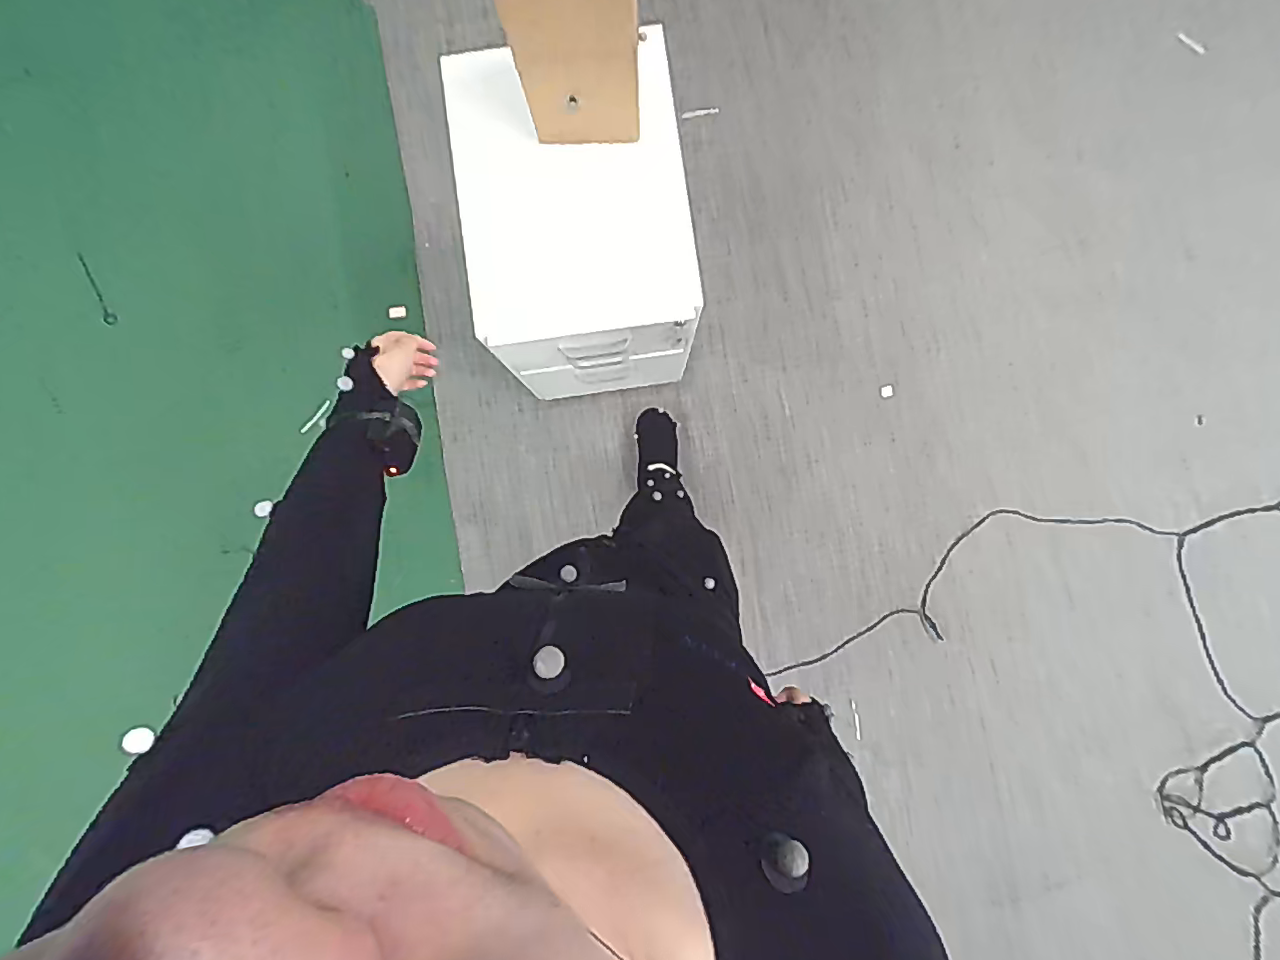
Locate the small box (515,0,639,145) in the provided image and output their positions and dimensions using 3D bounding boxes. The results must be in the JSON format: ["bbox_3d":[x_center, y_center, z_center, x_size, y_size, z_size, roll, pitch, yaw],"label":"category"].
[{"bbox_3d":[-0.091,-0.664,0.860,0.179,0.176,0.168,-1,88,1],"label":"small box"}]

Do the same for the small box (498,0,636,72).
[{"bbox_3d":[-0.096,-0.668,0.698,0.179,0.176,0.168,-2,87,0],"label":"small box"}]
